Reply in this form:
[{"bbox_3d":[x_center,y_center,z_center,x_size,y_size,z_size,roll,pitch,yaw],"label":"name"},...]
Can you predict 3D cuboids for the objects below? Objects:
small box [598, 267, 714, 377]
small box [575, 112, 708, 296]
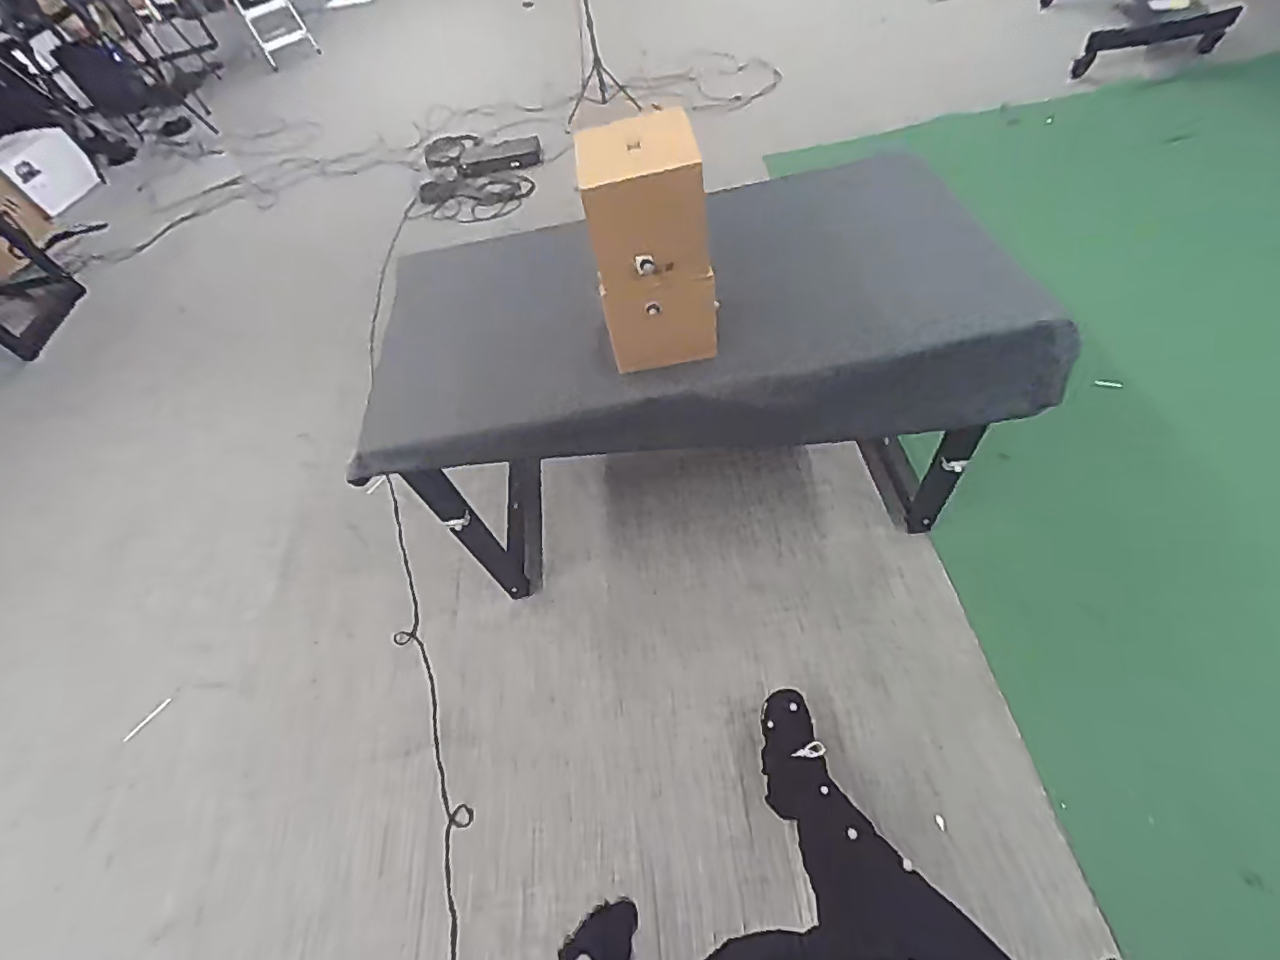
[{"bbox_3d":[0.030,-0.301,0.950,0.179,0.176,0.168,-9,55,4],"label":"small box"},{"bbox_3d":[0.004,-0.408,0.810,0.168,0.176,0.179,-12,55,4],"label":"small box"}]
